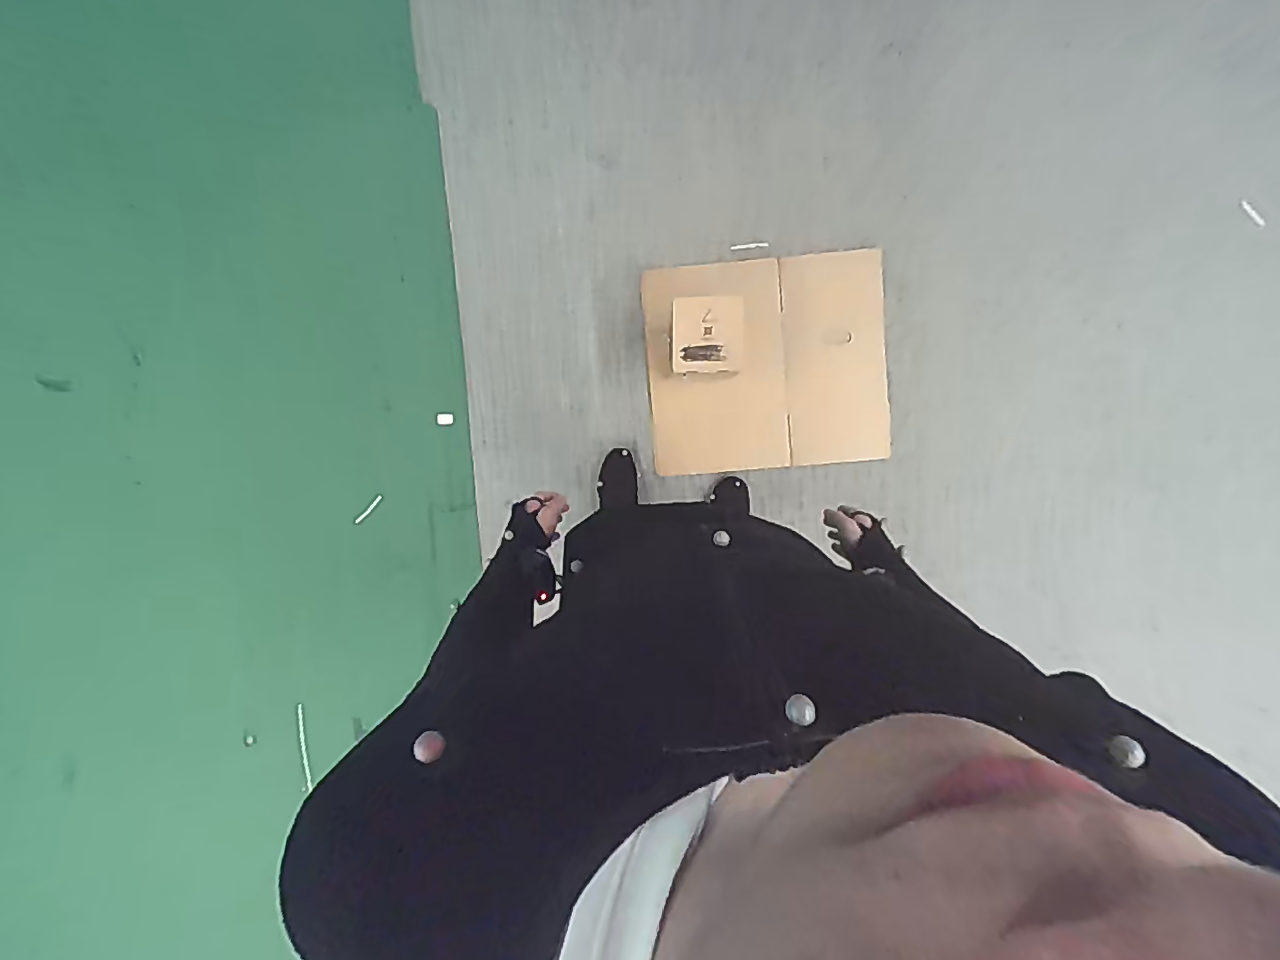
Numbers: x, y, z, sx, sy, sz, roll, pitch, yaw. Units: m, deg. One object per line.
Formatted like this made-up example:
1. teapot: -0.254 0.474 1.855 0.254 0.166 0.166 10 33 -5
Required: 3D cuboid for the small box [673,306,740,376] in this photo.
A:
1. small box: 0.179 -0.380 1.504 0.179 0.176 0.168 0 95 2
